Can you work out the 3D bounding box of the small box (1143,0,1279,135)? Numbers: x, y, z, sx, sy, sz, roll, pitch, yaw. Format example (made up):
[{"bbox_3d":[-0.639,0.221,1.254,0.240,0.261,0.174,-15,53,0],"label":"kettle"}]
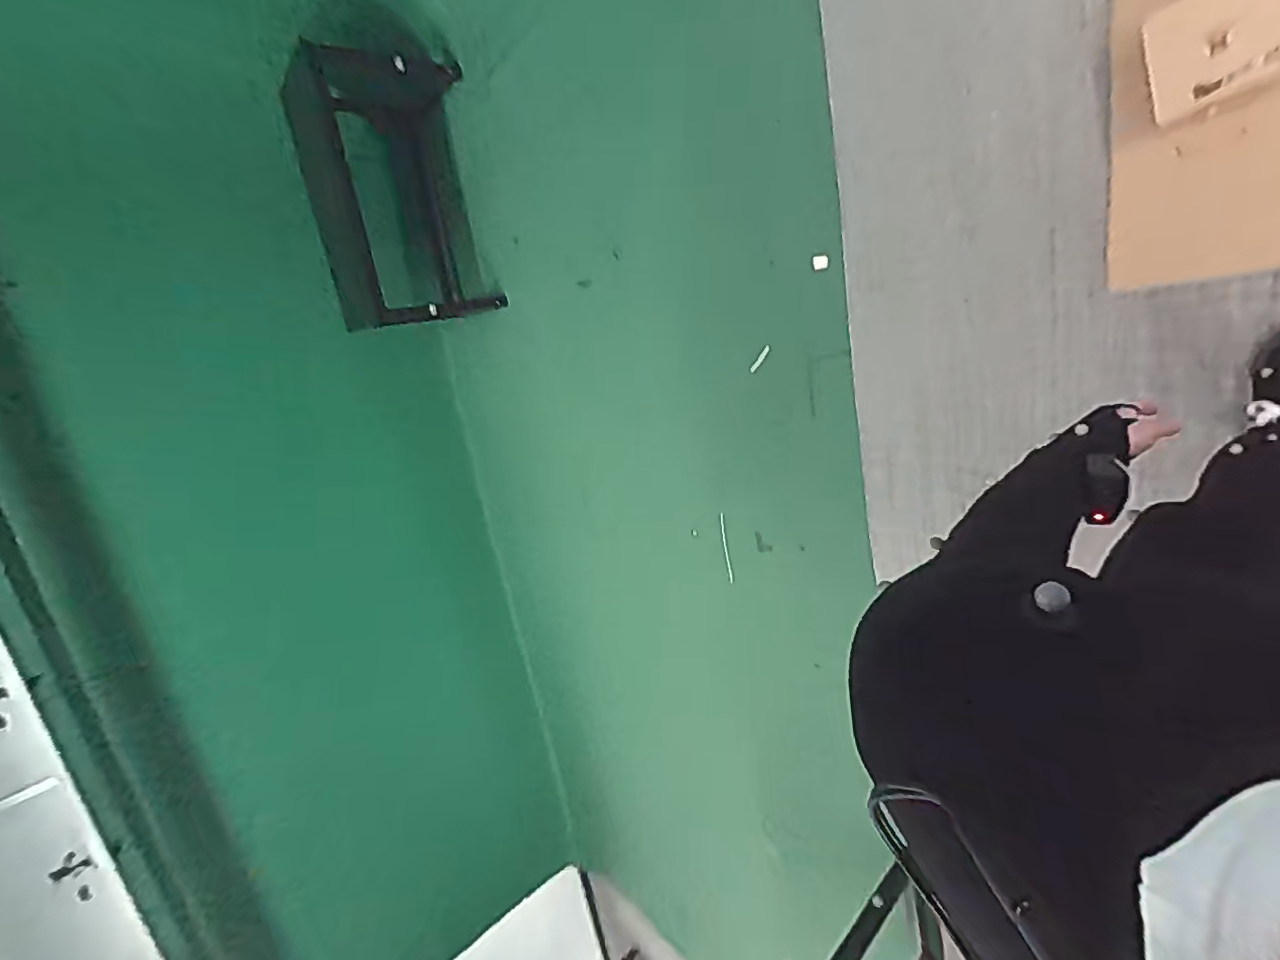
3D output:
[{"bbox_3d":[0.971,-0.714,0.901,0.168,0.176,0.179,-7,101,52],"label":"small box"}]
